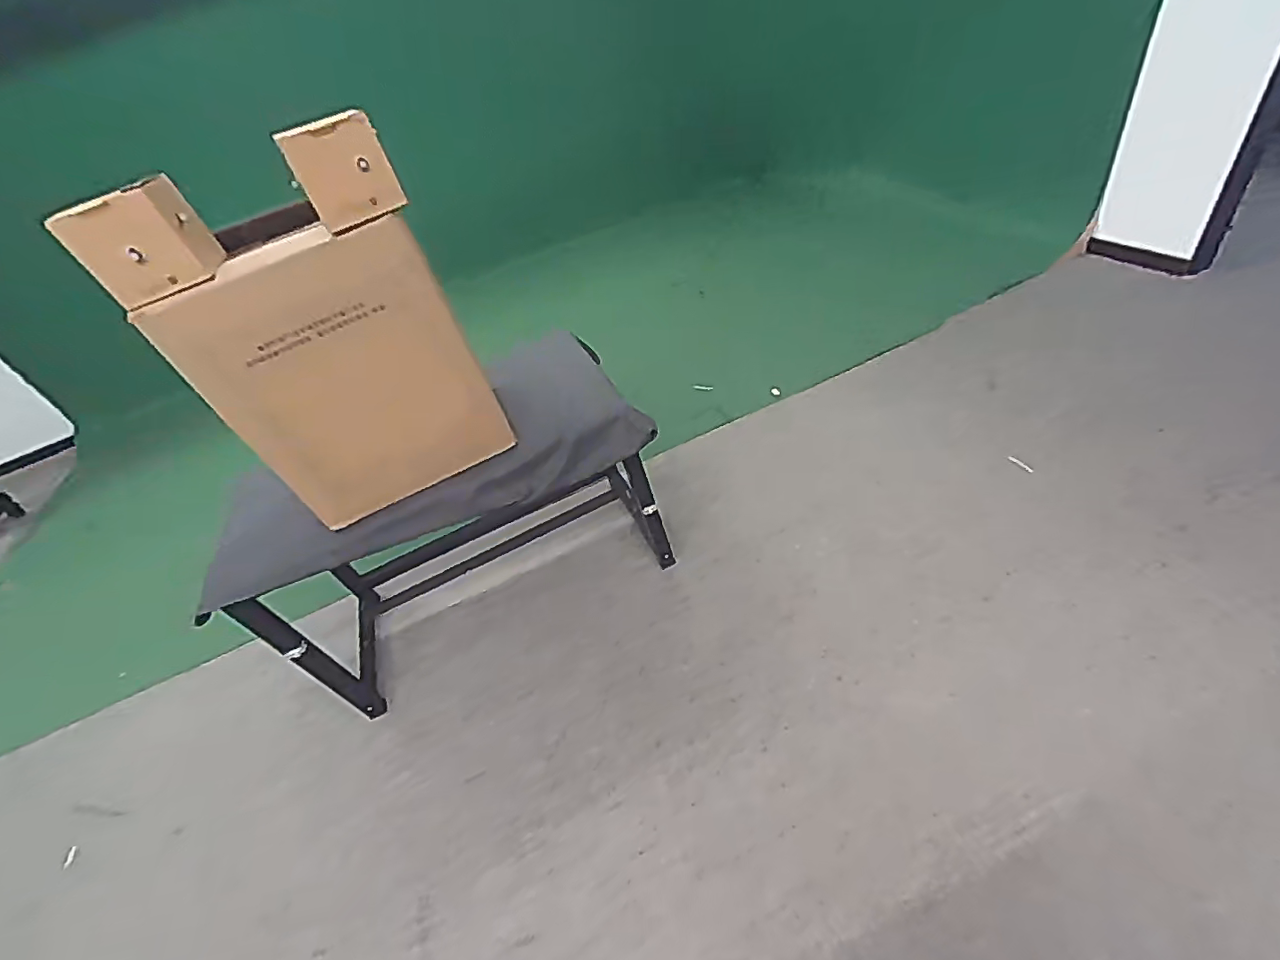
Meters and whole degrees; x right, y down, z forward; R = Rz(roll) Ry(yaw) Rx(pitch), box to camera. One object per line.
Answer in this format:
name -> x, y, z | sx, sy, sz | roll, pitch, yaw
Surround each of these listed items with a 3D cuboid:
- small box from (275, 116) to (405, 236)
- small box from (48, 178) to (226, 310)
small box -> -0.599, -0.611, 1.090 | 0.168, 0.176, 0.179 | -30, 42, -16
small box -> -0.946, -0.451, 1.041 | 0.168, 0.176, 0.179 | -26, 42, -8
